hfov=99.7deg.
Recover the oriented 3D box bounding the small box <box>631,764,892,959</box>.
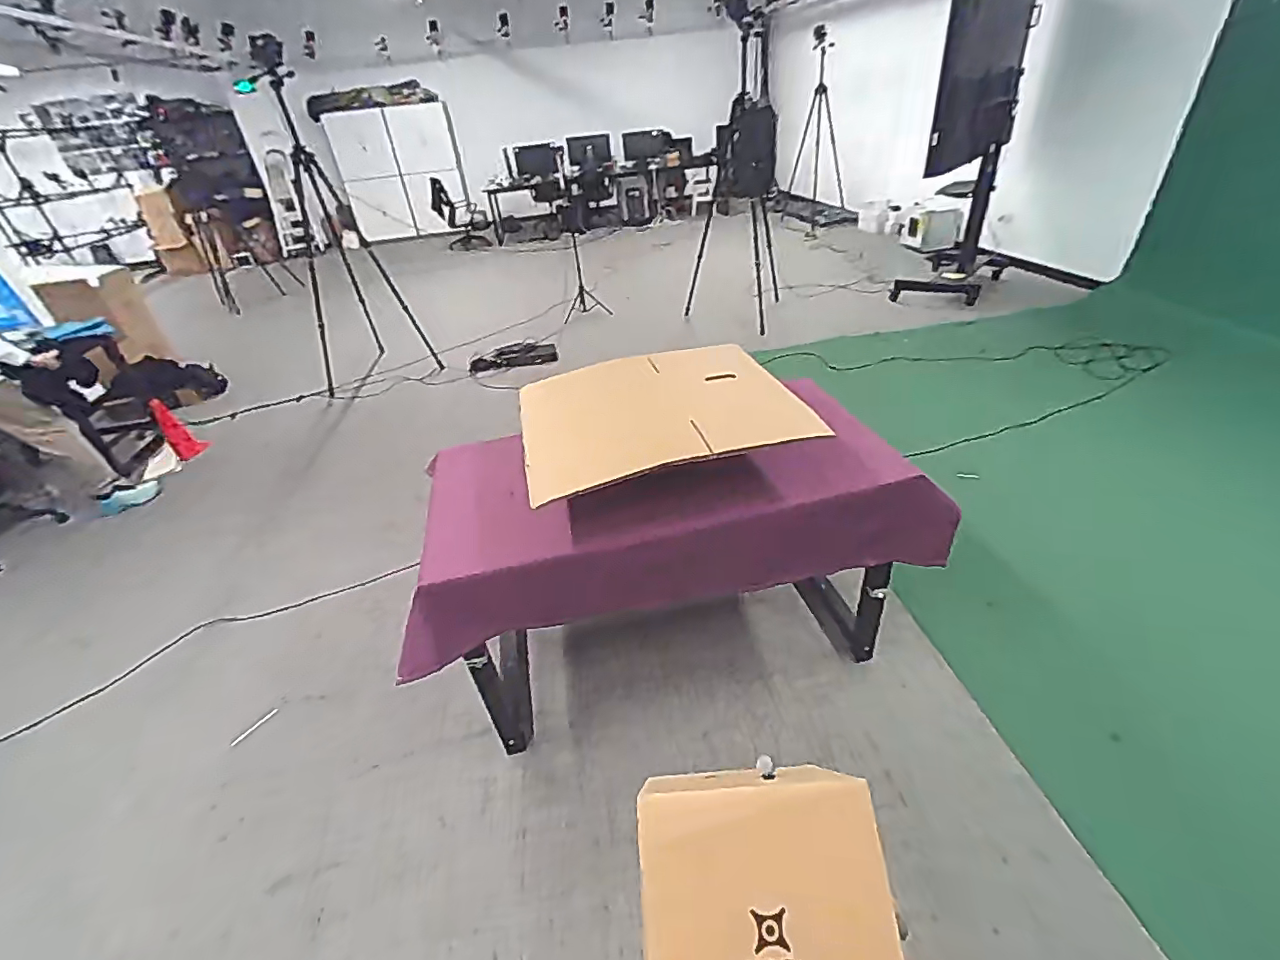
[{"bbox_3d":[0.084,0.332,0.432,0.168,0.176,0.179,-7,67,1],"label":"small box"}]
